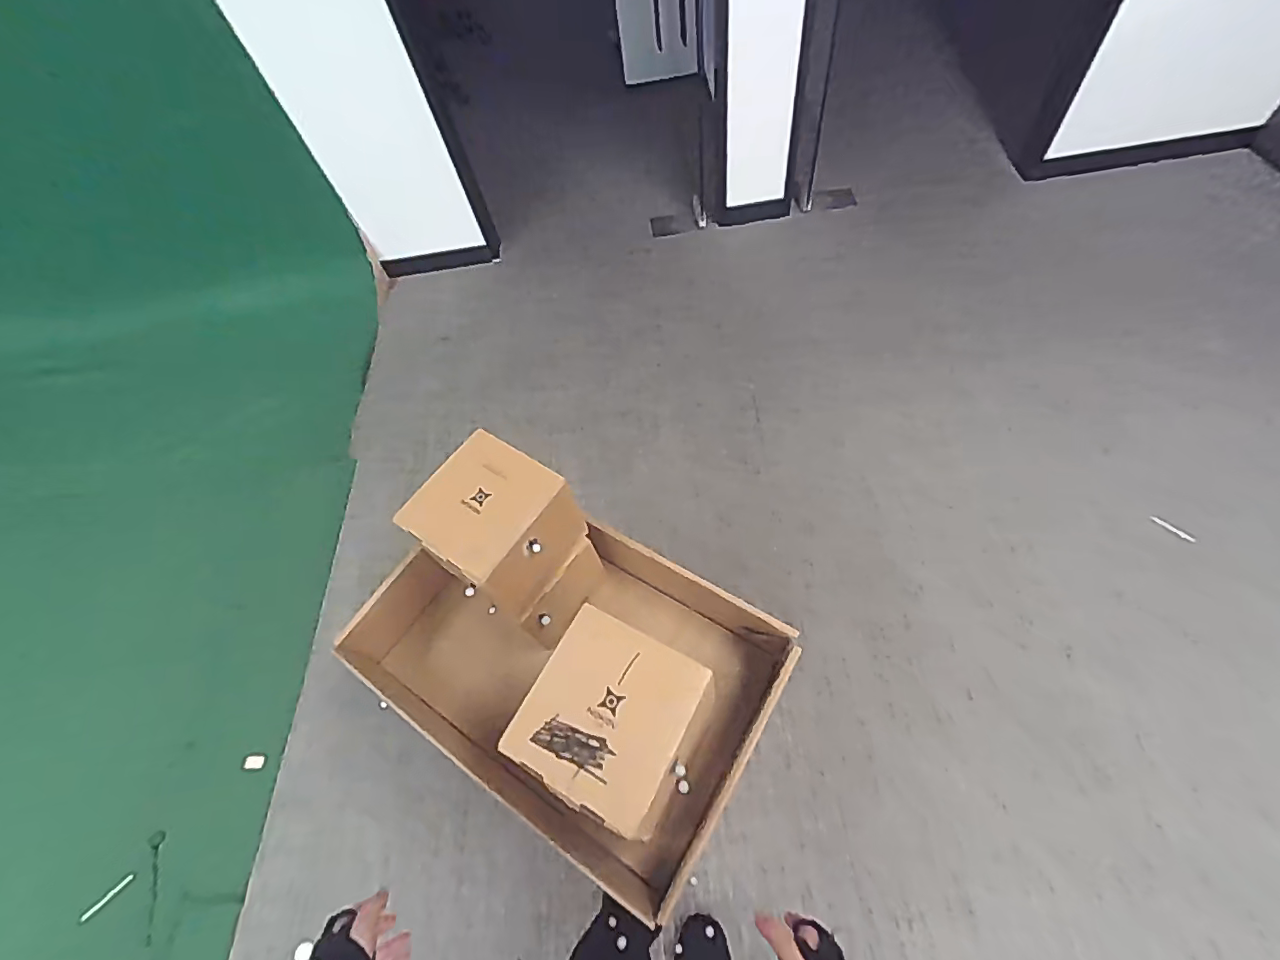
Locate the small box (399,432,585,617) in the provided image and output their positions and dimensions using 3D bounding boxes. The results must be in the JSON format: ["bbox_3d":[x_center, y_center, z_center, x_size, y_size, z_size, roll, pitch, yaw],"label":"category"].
[{"bbox_3d":[-0.198,0.070,0.783,0.168,0.176,0.179,30,67,21],"label":"small box"}]

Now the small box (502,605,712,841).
[{"bbox_3d":[-0.023,0.281,0.631,0.168,0.176,0.179,24,65,20],"label":"small box"}]
